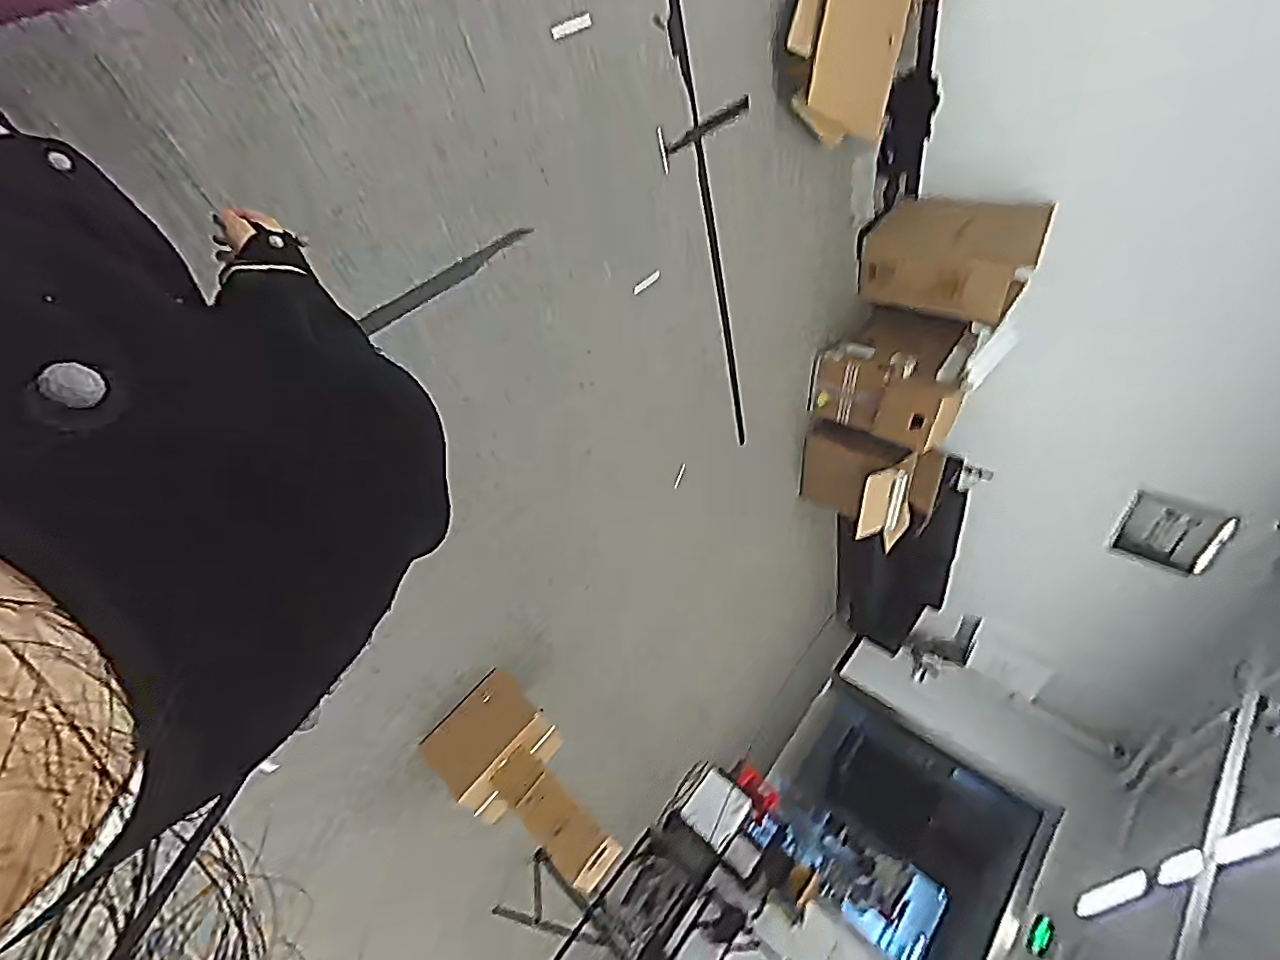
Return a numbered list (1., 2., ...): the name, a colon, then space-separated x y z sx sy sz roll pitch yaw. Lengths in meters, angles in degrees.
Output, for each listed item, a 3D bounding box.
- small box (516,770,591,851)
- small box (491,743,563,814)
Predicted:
1. small box: -0.311 1.184 1.944 0.168 0.176 0.179 -45 138 -24
2. small box: -0.428 1.136 2.046 0.179 0.176 0.168 -45 138 -22
